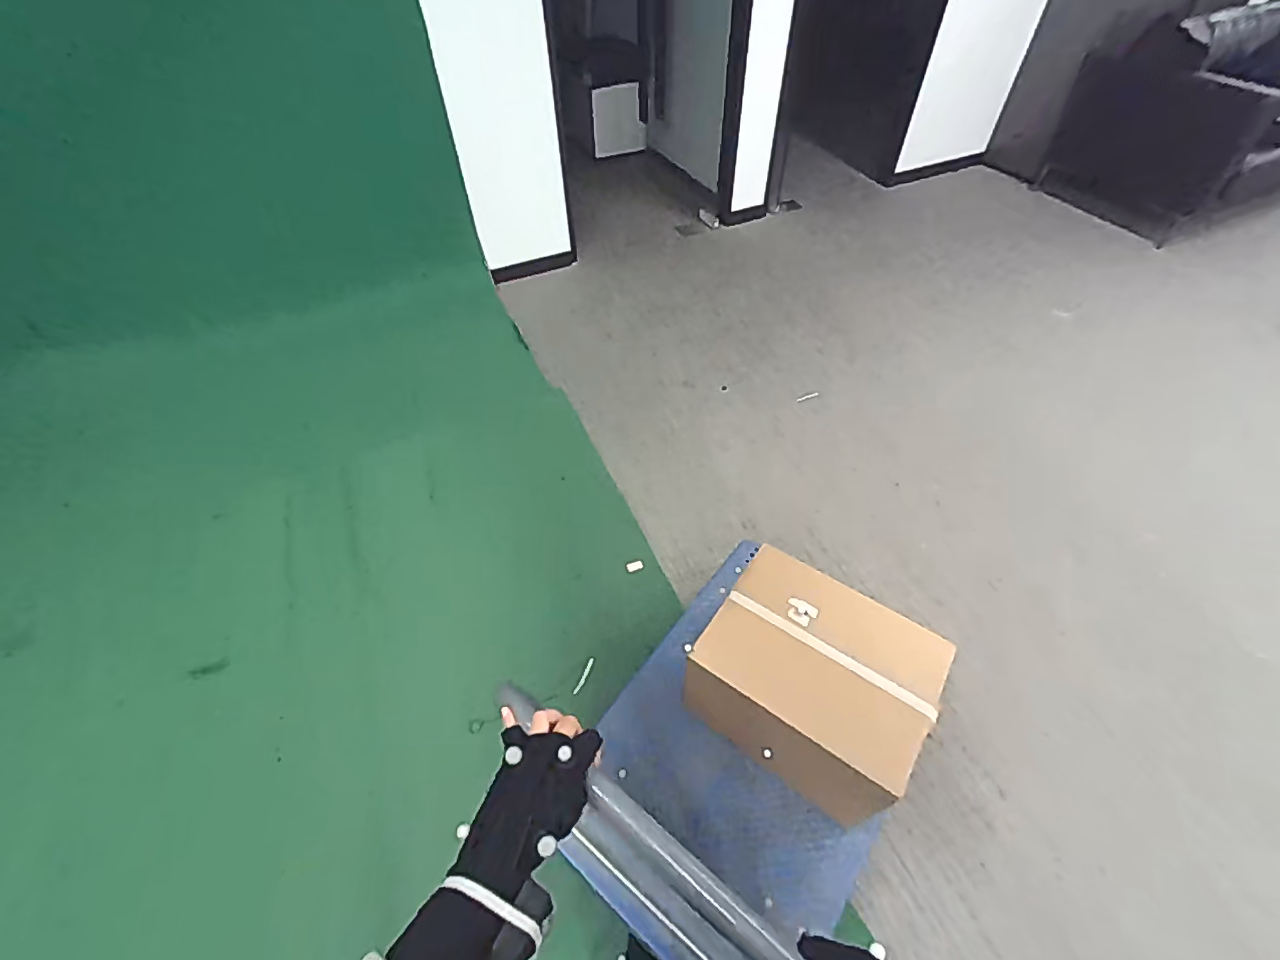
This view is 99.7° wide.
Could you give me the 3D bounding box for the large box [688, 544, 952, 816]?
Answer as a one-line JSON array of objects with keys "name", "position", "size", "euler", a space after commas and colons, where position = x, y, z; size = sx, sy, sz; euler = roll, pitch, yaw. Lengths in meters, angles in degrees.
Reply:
[{"name": "large box", "position": [0.348, 0.411, 1.128], "size": [0.408, 0.320, 0.320], "euler": [28, 55, 24]}]
